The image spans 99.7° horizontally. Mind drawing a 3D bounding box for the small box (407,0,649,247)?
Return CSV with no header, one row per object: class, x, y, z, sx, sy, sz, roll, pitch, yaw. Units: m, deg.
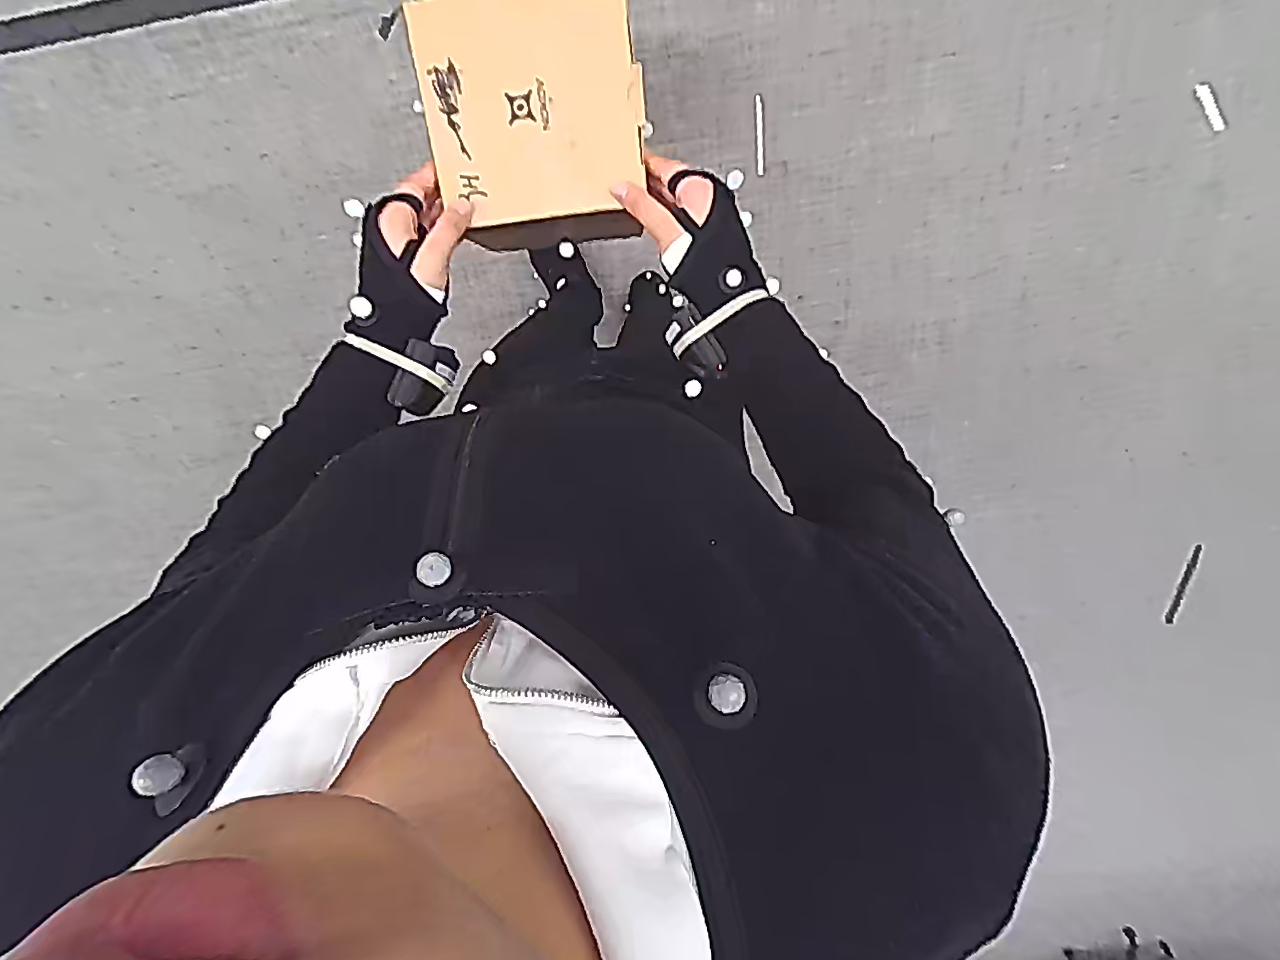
small box,-0.091,-0.327,0.516,0.179,0.176,0.168,-7,106,-1
